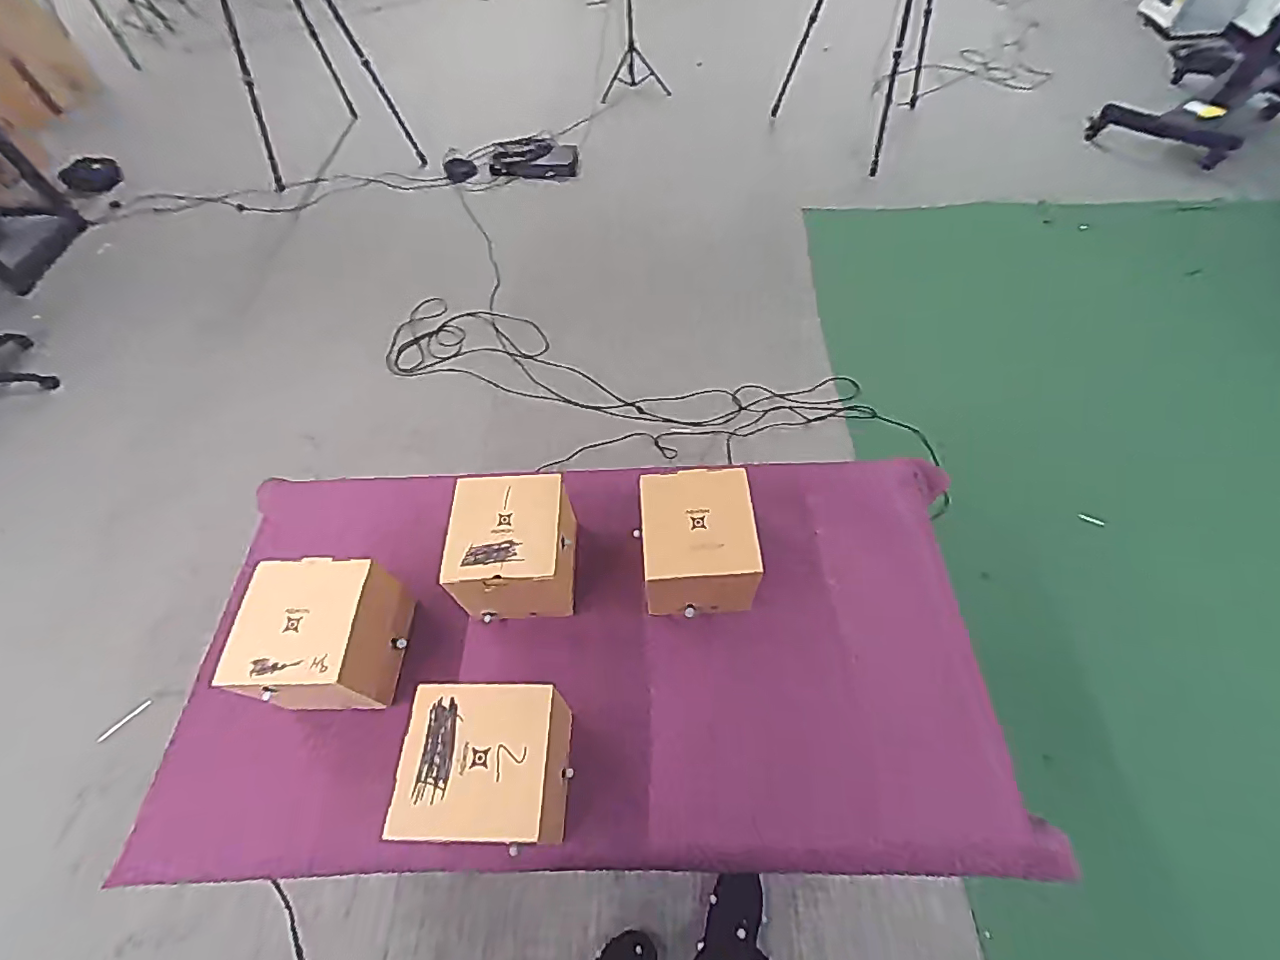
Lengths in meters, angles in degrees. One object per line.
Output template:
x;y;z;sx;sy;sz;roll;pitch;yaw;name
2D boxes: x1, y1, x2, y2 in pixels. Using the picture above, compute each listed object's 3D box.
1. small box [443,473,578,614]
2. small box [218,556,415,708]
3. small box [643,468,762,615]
-0.194;0.109;0.868;0.168;0.176;0.179;-3;57;1;small box
-0.457;0.228;0.802;0.168;0.176;0.179;-2;57;3;small box
0.090;0.101;0.859;0.168;0.176;0.179;-4;58;2;small box
